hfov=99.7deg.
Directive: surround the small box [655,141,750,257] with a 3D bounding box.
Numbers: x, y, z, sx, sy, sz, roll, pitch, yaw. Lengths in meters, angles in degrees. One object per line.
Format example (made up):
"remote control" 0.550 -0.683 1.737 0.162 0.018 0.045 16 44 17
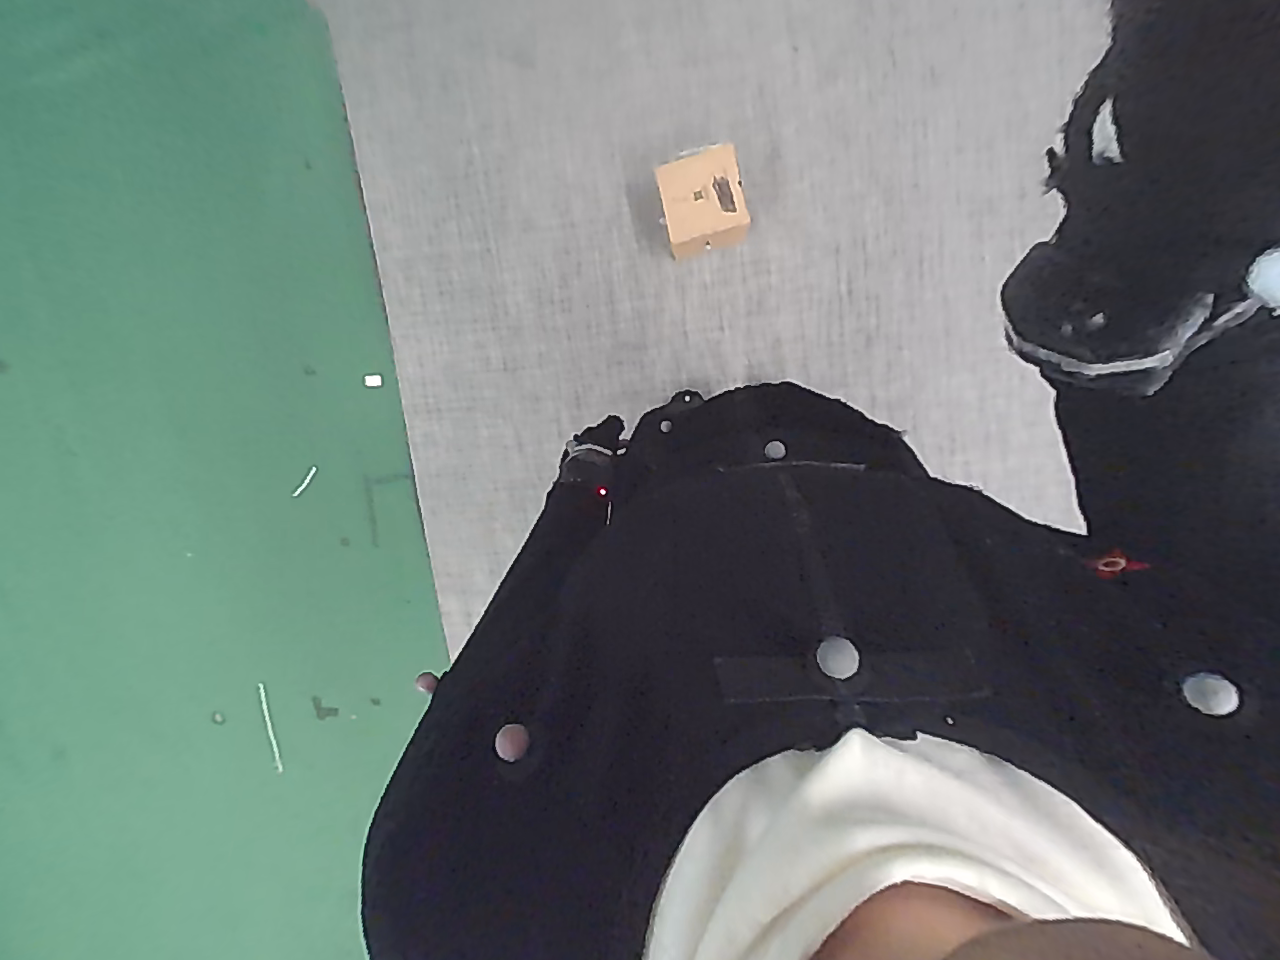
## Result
"small box" 0.142 -0.636 1.246 0.179 0.176 0.168 -16 98 9
